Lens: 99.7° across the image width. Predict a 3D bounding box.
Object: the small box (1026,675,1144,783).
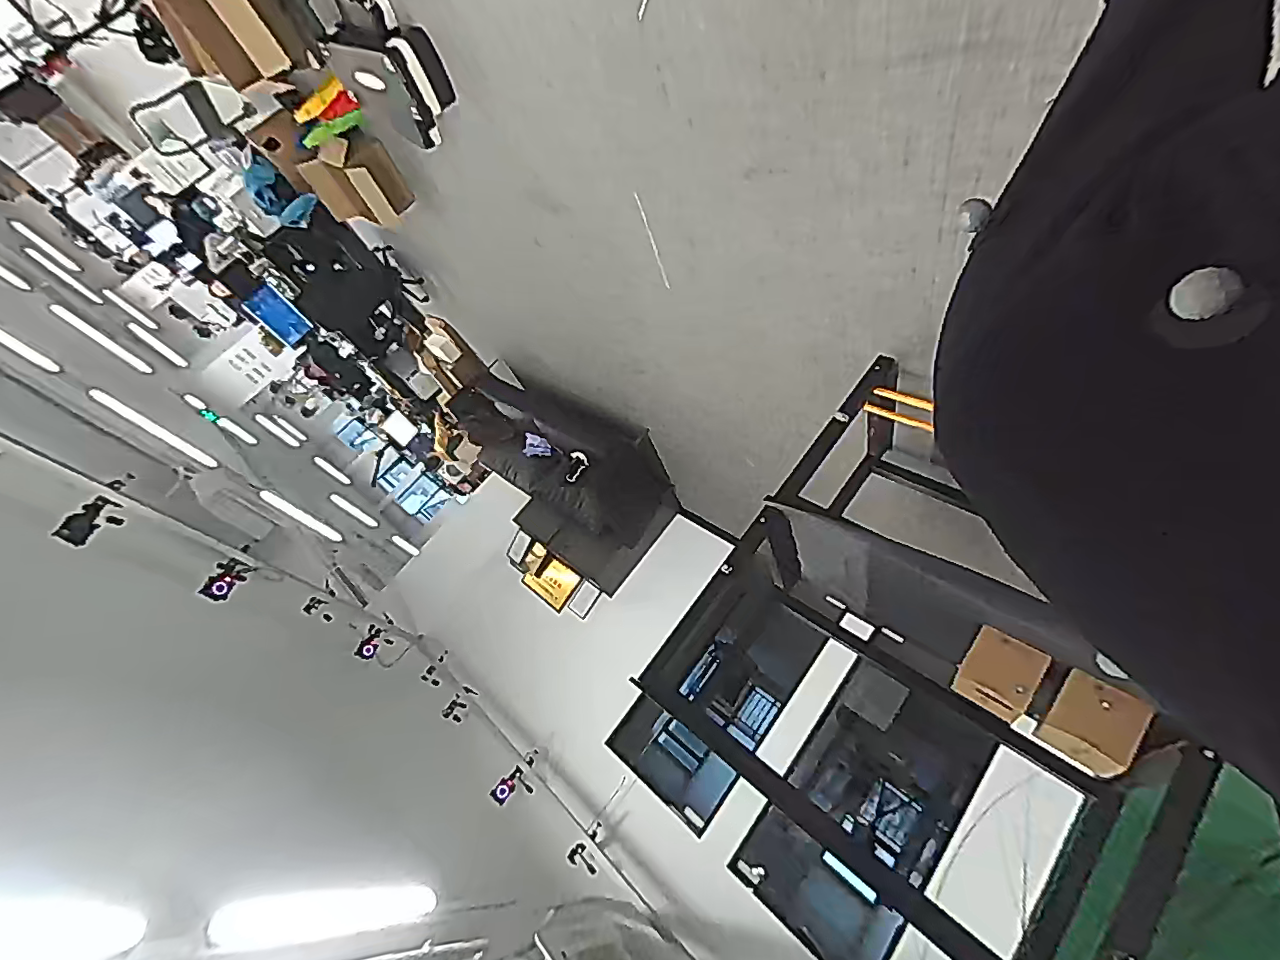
[{"bbox_3d":[1.120,0.627,1.366,0.168,0.176,0.179,29,161,36],"label":"small box"}]
